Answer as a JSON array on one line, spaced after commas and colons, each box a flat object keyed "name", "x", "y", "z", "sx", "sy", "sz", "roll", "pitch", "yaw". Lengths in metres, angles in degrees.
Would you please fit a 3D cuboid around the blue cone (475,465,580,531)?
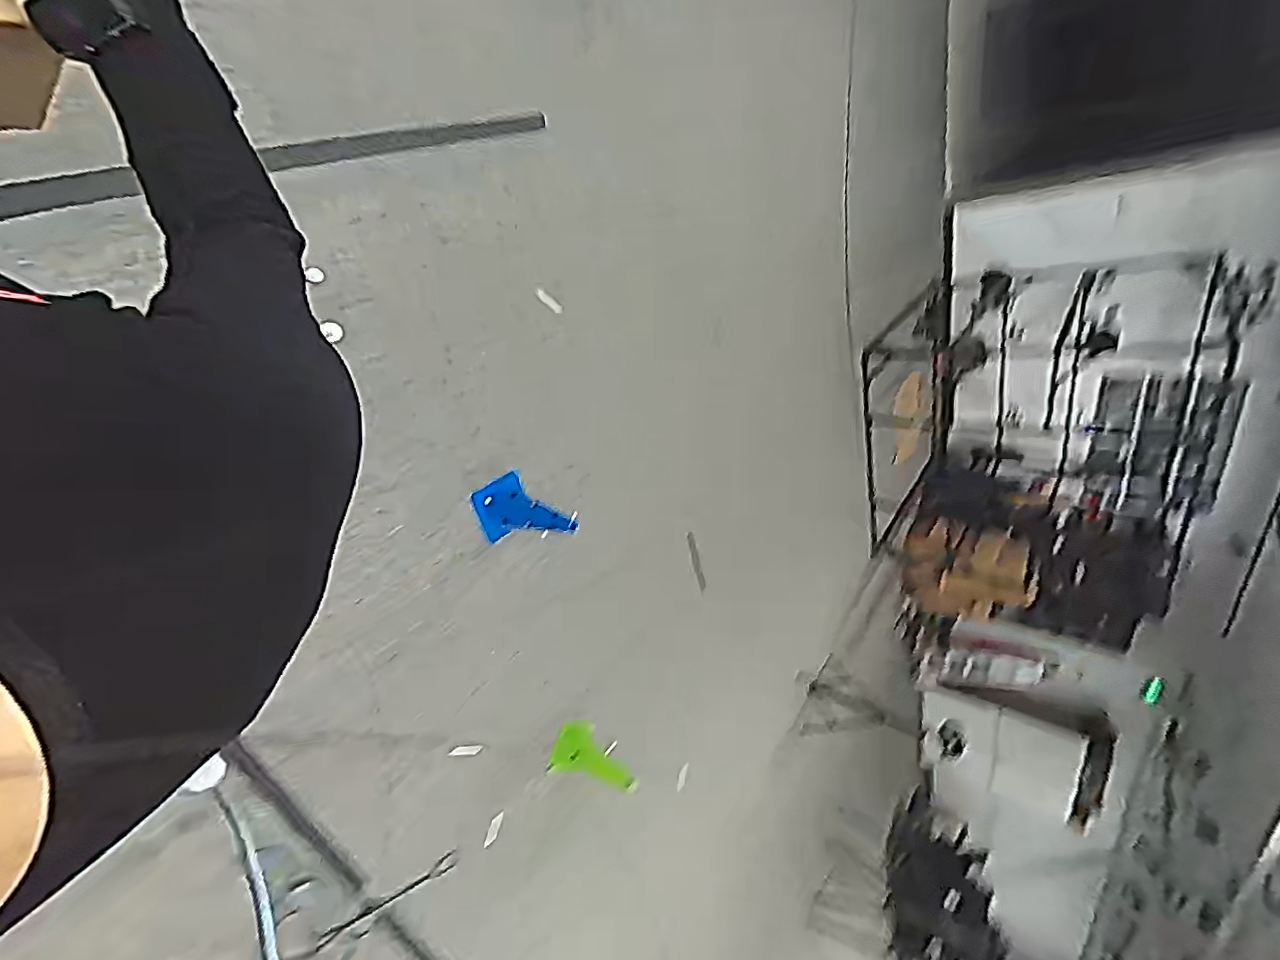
[{"name": "blue cone", "x": -0.342, "y": 0.085, "z": 1.746, "sx": 0.192, "sy": 0.380, "sz": 0.193, "roll": -38, "pitch": 125, "yaw": -40}]

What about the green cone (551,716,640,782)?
[{"name": "green cone", "x": -0.149, "y": 1.117, "z": 2.169, "sx": 0.200, "sy": 0.368, "sz": 0.202, "roll": 33, "pitch": 71, "yaw": -49}]

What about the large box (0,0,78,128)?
[{"name": "large box", "x": -0.618, "y": -0.370, "z": 0.244, "sx": 0.408, "sy": 0.320, "sz": 0.320, "roll": -33, "pitch": 126, "yaw": -42}]
